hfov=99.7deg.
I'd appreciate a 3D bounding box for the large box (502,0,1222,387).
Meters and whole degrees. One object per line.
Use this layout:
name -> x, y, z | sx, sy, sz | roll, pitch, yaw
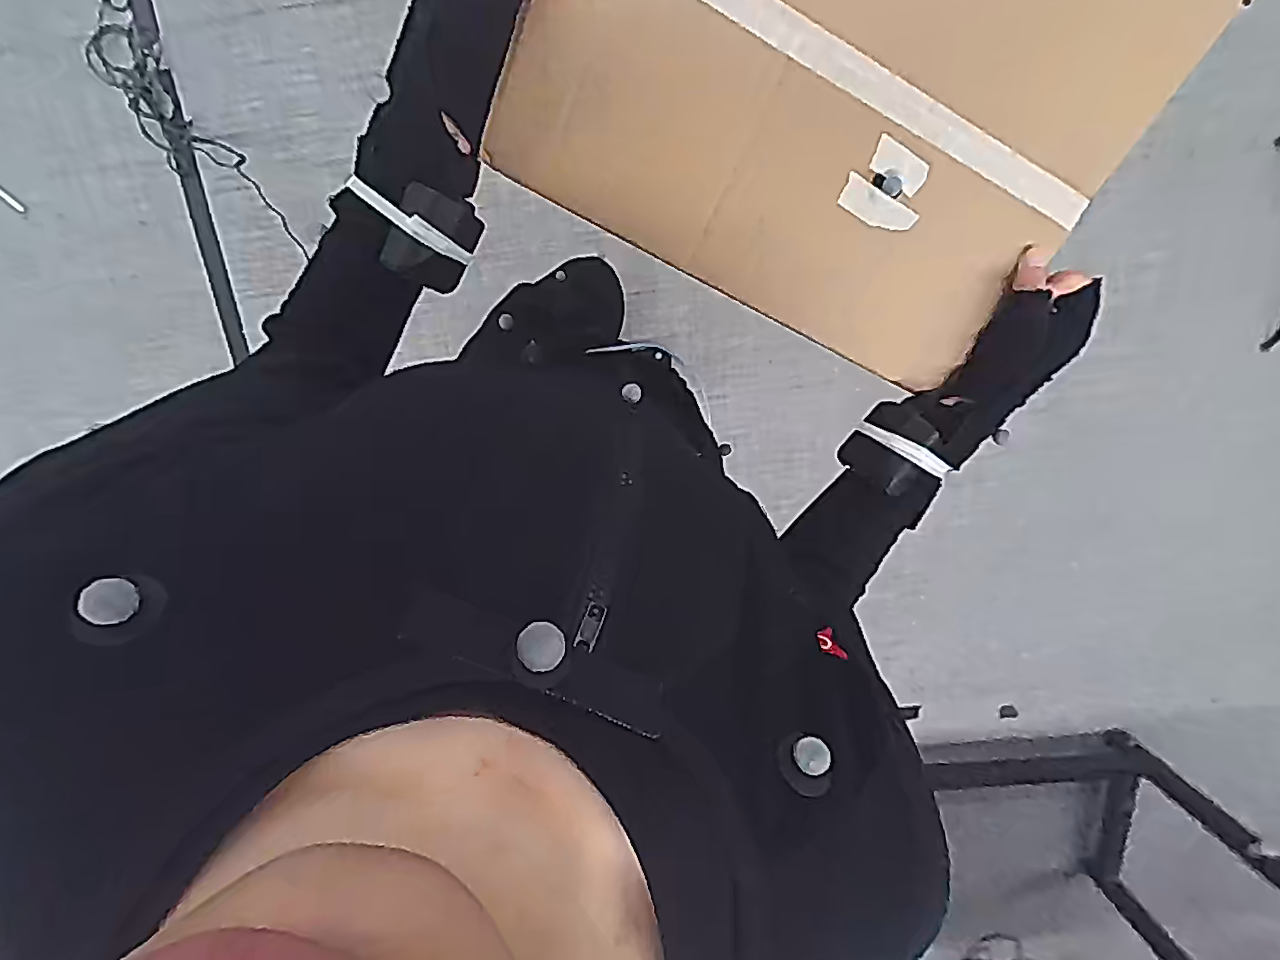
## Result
large box -> 0.139, -0.343, 0.503 | 0.408, 0.320, 0.320 | 24, 115, -11
